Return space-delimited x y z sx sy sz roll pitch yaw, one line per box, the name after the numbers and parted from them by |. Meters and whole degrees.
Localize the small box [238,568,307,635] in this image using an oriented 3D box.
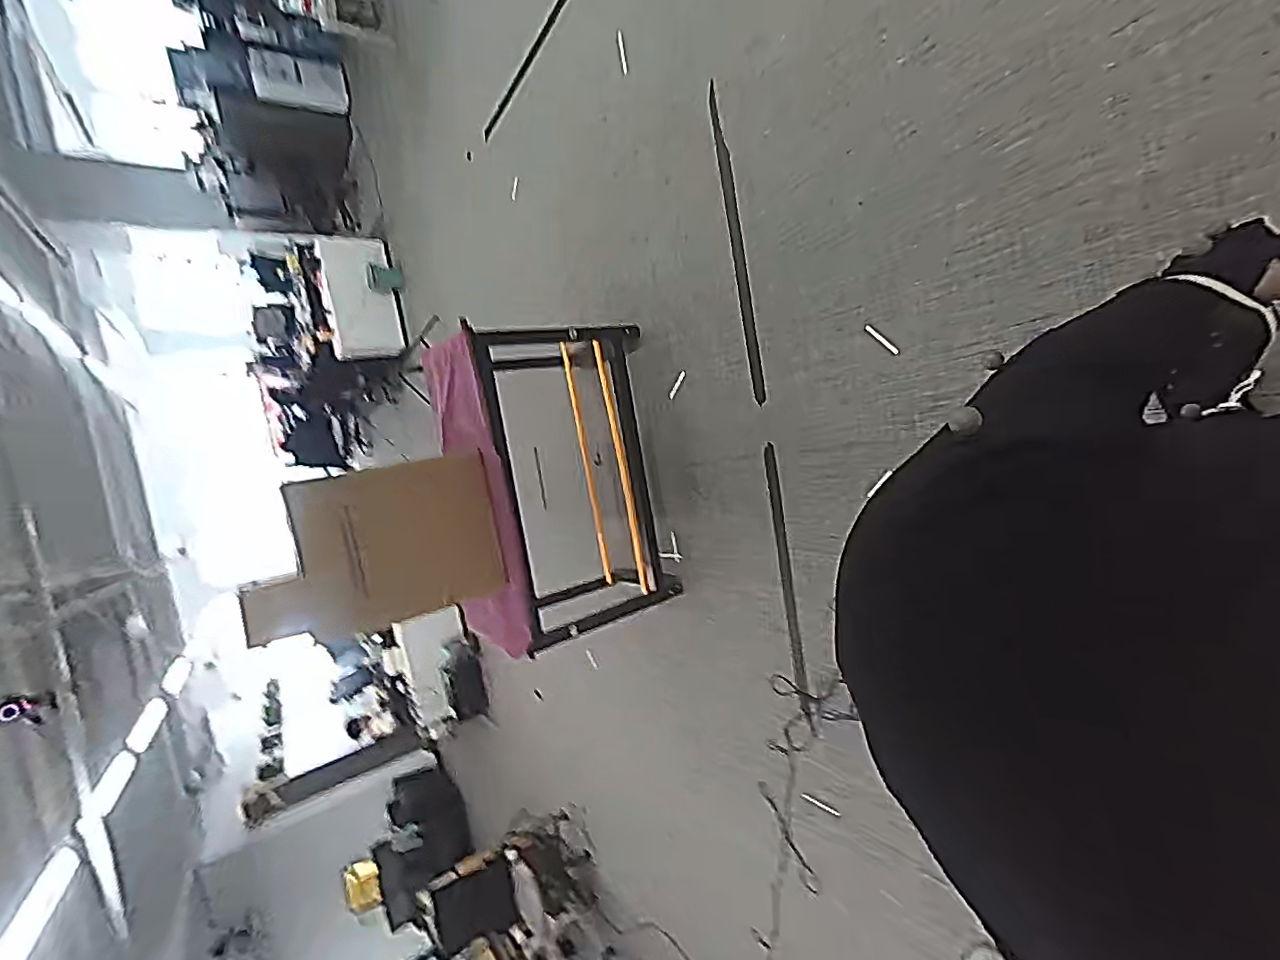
-1.242 0.404 1.832 0.179 0.176 0.168 -2 98 56 | small box
